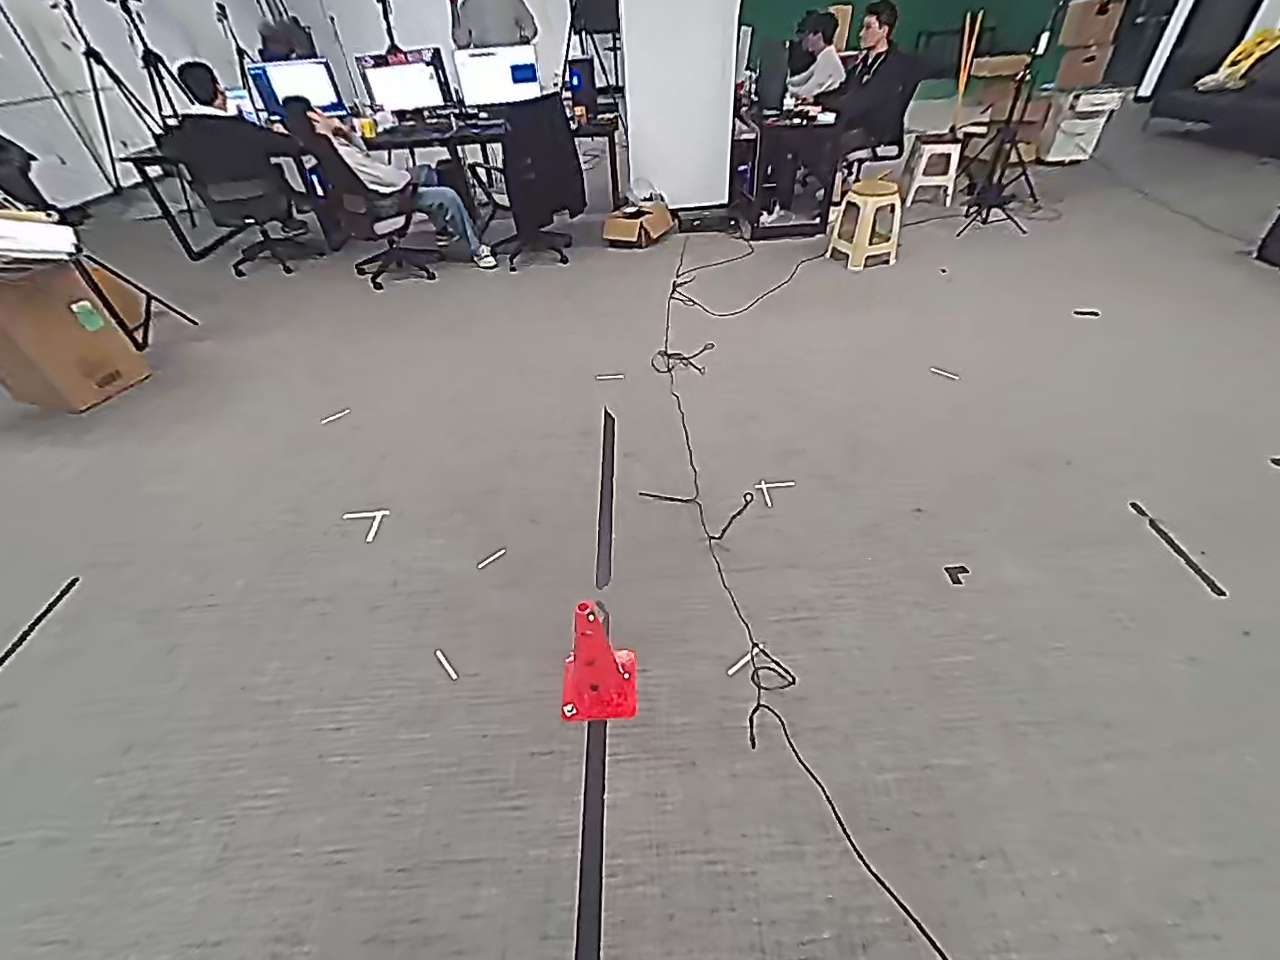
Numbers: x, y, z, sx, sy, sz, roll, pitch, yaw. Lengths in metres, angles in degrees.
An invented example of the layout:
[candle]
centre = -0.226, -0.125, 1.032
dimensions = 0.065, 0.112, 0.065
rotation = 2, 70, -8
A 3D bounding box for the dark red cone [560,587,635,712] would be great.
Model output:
[dark red cone]
centre = -0.120, 0.410, 1.360
dimensions = 0.201, 0.394, 0.202
rotation = -3, 41, -1
